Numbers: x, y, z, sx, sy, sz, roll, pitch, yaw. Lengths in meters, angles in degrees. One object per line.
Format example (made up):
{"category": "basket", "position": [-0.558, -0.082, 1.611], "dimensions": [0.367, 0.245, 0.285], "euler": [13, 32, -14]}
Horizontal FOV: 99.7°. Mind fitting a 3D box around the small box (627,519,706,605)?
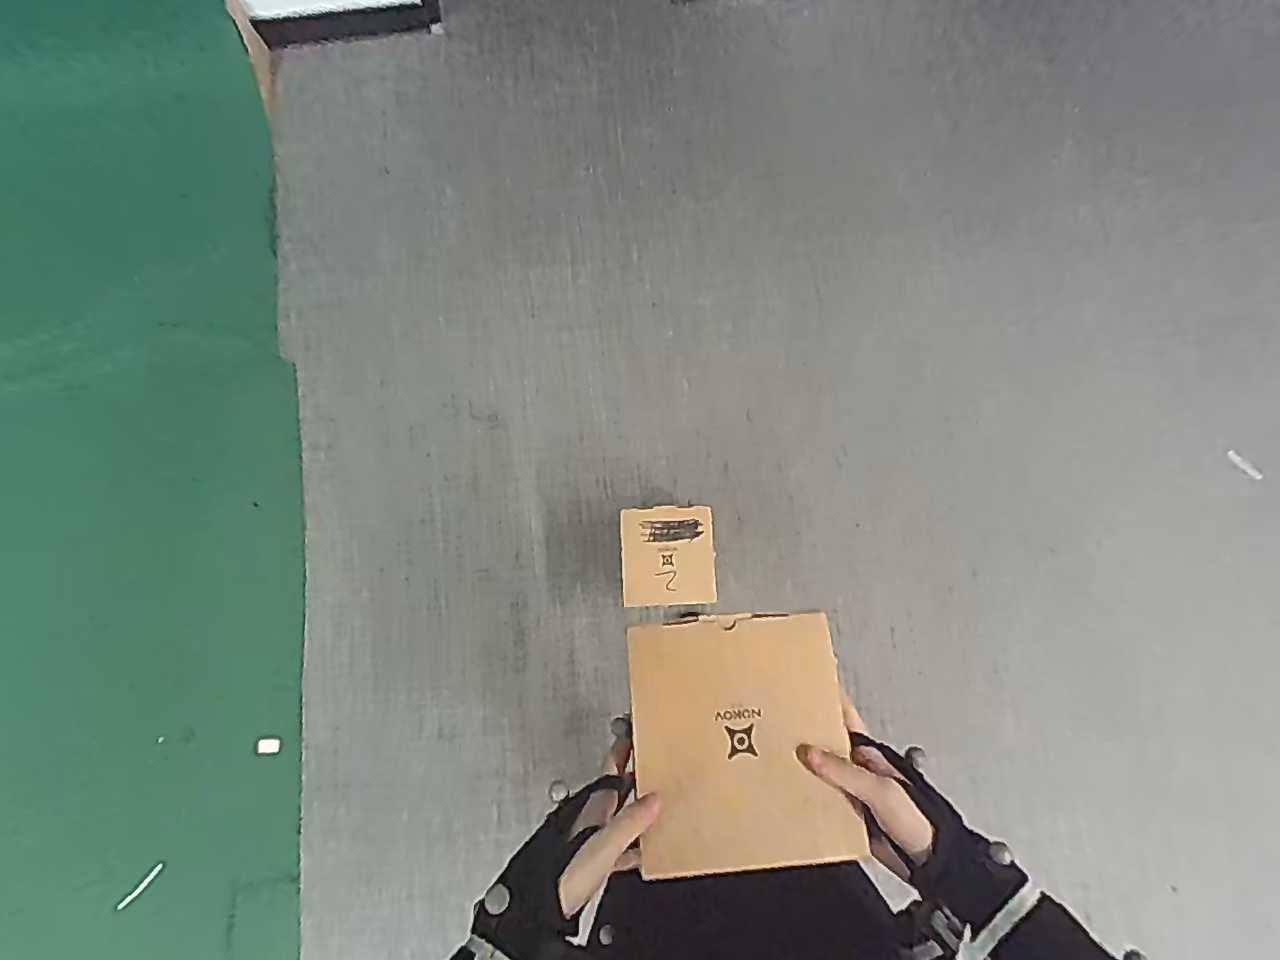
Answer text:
{"category": "small box", "position": [0.058, 0.180, 1.198], "dimensions": [0.168, 0.176, 0.179], "euler": [1, 81, 0]}
